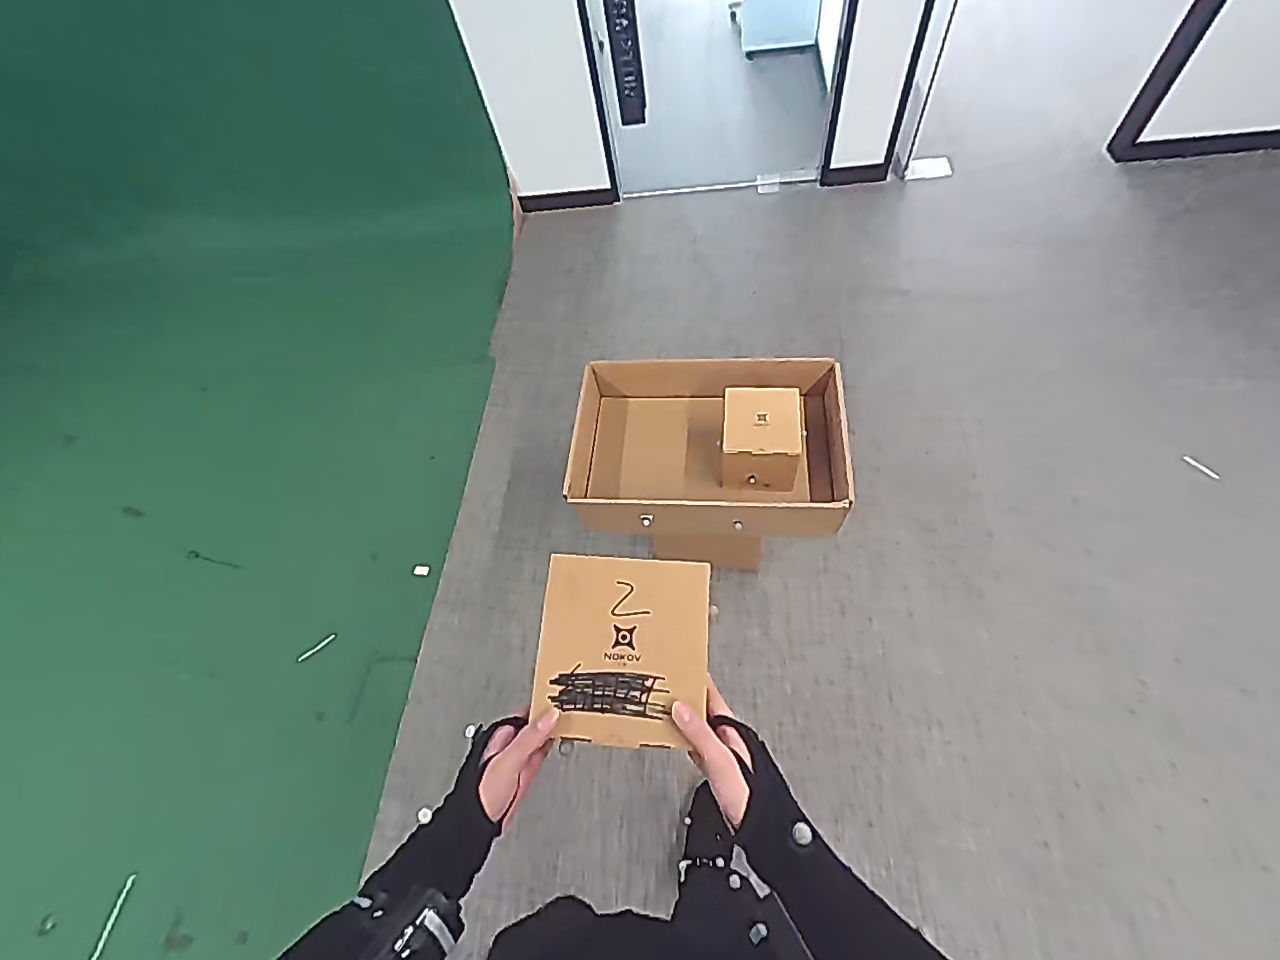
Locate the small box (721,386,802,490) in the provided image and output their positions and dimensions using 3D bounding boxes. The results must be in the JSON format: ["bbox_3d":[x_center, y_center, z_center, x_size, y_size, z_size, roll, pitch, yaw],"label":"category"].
[{"bbox_3d":[0.274,-0.094,1.248,0.168,0.176,0.179,2,62,8],"label":"small box"}]
